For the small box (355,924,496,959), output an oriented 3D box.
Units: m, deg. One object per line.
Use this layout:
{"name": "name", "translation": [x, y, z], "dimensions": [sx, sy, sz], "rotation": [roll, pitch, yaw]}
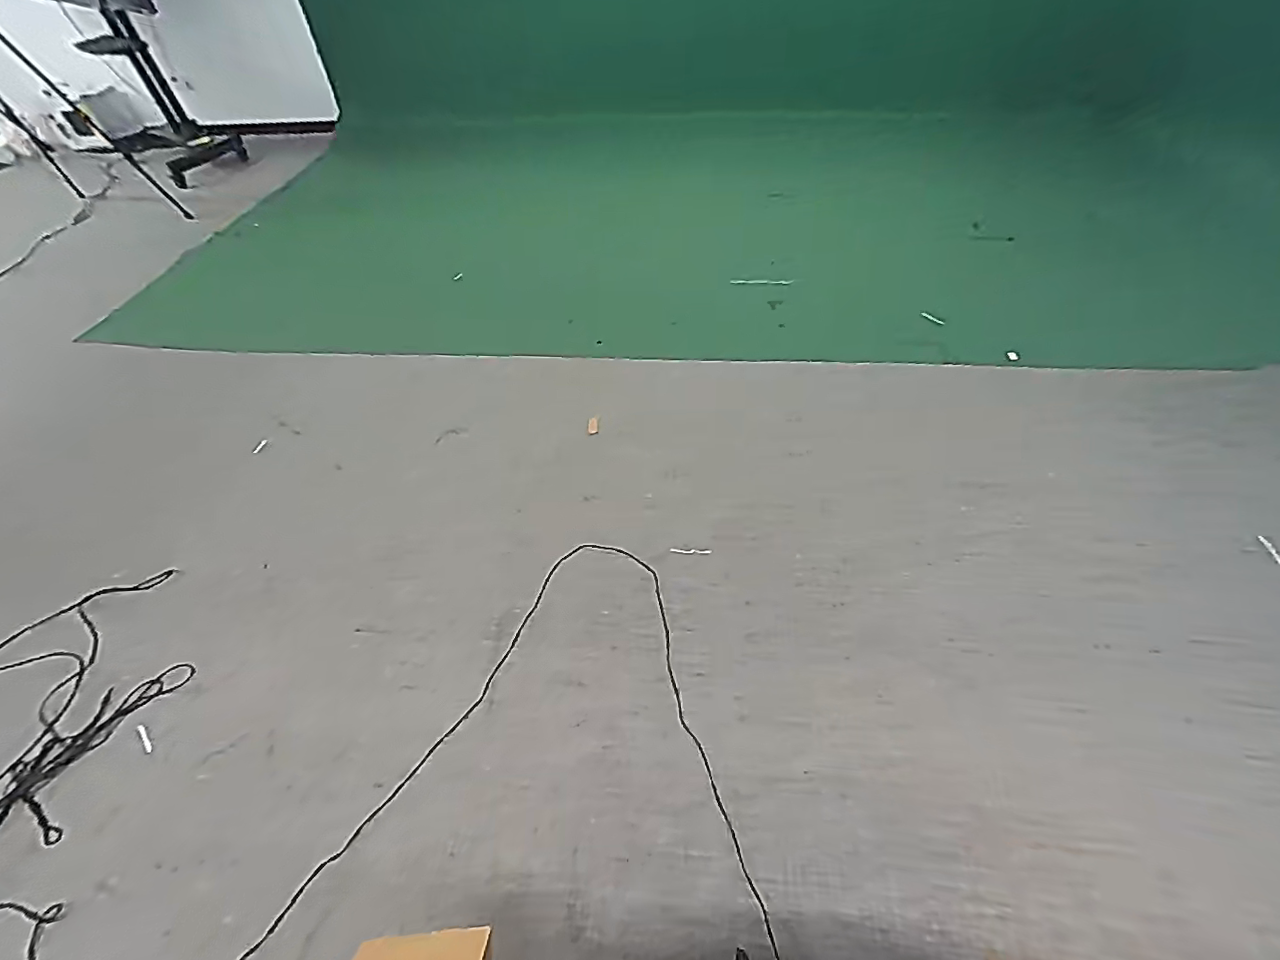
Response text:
{"name": "small box", "translation": [-0.266, 0.667, 0.623], "dimensions": [0.168, 0.179, 0.176], "rotation": [-3, 85, -3]}
